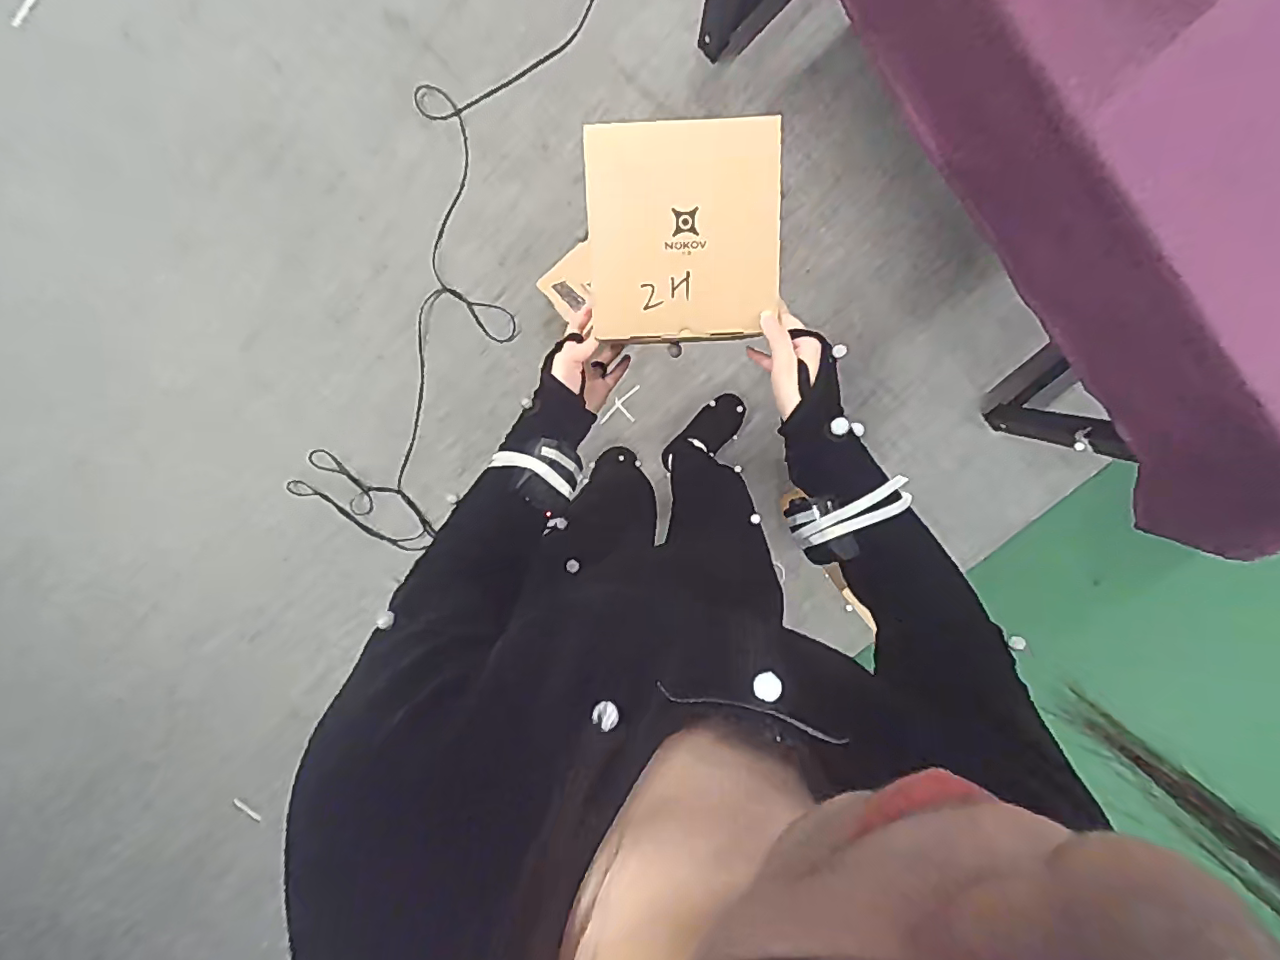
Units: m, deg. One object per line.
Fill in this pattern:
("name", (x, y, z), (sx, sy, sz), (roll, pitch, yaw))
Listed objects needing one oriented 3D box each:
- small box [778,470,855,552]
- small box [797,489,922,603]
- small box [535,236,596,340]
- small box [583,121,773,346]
("small box", (0.481, 0.091, 1.384), (0.168, 0.176, 0.179), (-38, 102, 9))
("small box", (0.486, 0.139, 1.228), (0.168, 0.176, 0.179), (-40, 102, 10))
("small box", (-0.112, -0.439, 1.248), (0.179, 0.176, 0.168), (-39, 101, 8))
("small box", (0.032, -0.232, 0.550), (0.168, 0.176, 0.179), (-2, 103, 0))
